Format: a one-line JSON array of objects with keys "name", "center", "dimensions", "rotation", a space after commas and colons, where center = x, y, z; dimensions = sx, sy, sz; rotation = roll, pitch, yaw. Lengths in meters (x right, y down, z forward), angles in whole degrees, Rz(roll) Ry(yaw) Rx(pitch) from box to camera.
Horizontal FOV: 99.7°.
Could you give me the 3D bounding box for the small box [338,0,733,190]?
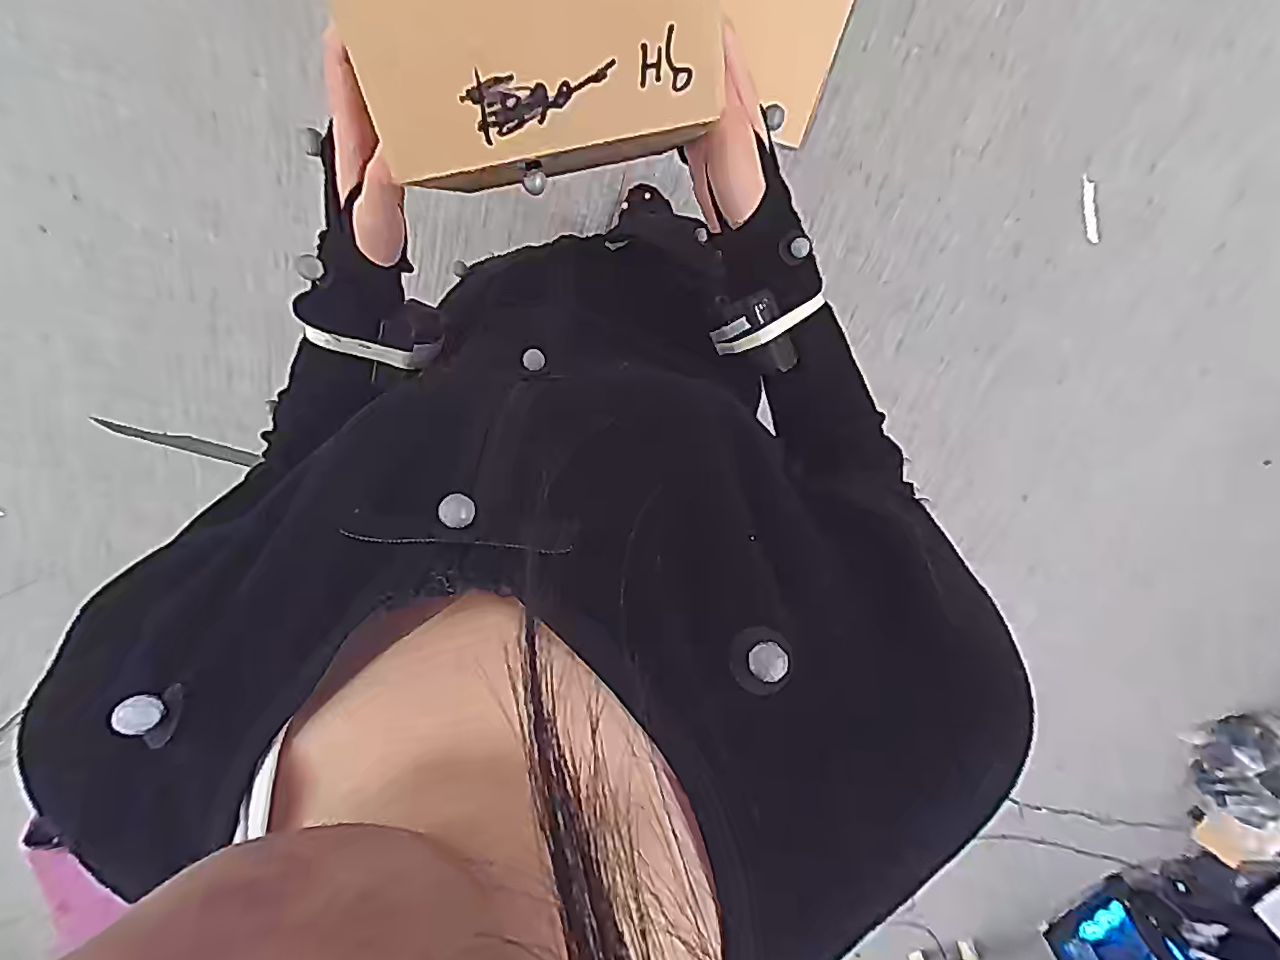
[{"name": "small box", "center": [-0.058, -0.267, 0.288], "dimensions": [0.168, 0.176, 0.179], "rotation": [-11, 117, 0]}]
